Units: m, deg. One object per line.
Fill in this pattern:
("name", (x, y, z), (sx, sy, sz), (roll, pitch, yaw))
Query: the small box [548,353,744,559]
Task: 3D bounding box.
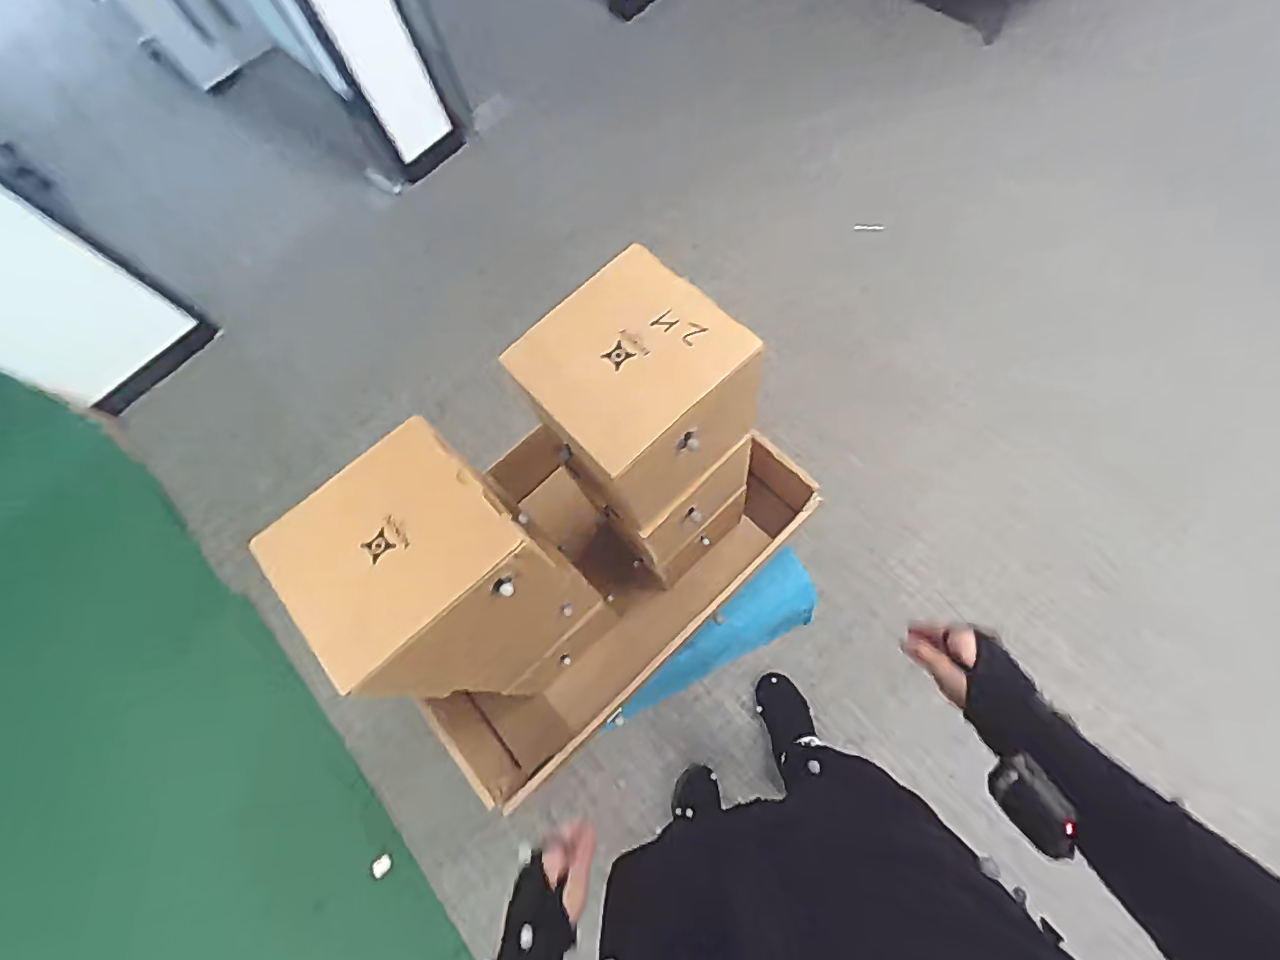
("small box", (0.018, -0.020, 0.697), (0.179, 0.176, 0.168), (-44, 71, -7))
